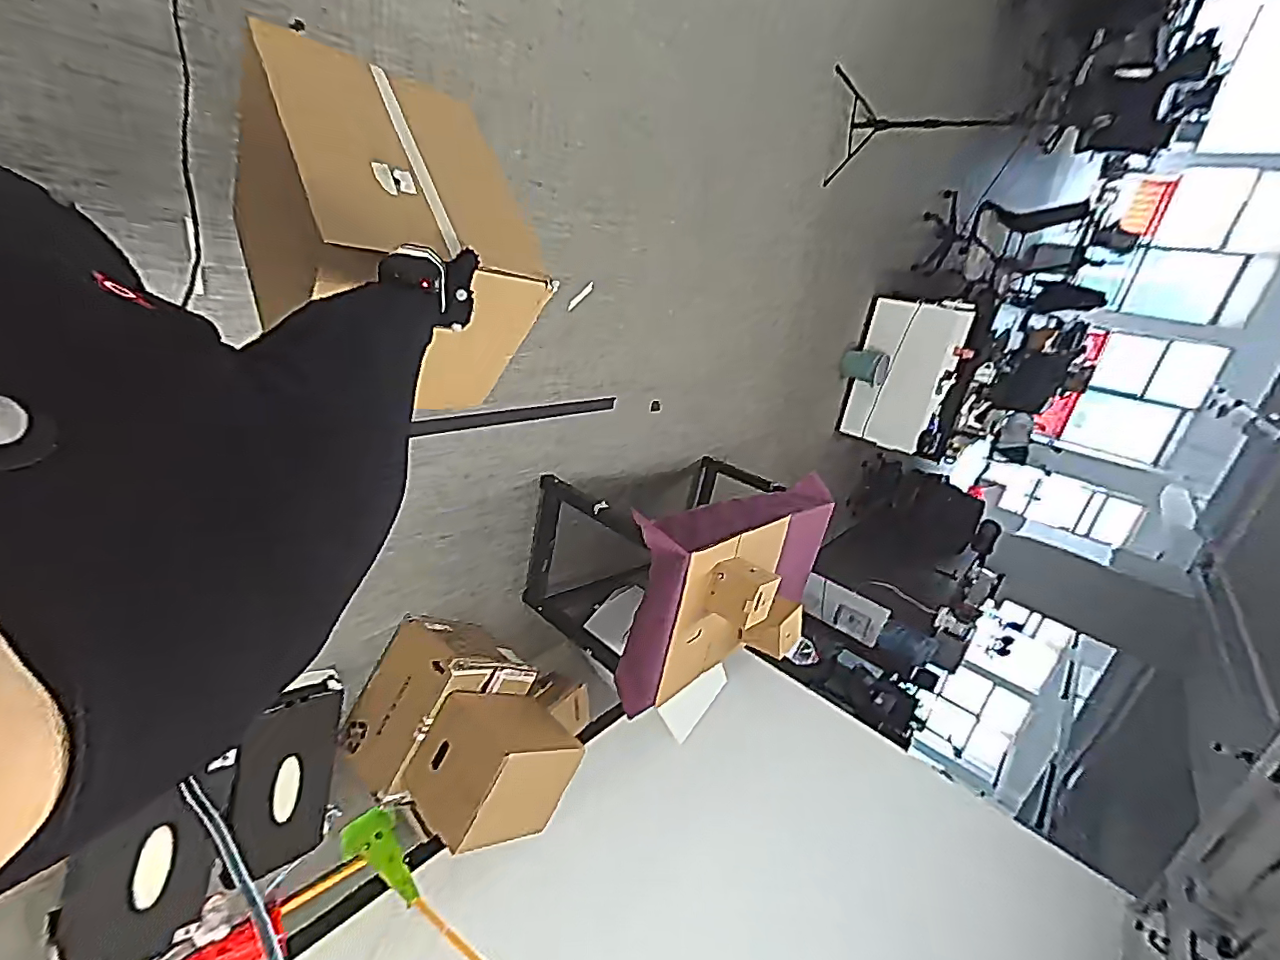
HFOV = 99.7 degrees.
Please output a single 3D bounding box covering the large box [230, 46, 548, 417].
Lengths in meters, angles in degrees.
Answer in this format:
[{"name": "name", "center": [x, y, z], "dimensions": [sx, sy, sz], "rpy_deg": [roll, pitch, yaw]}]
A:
[{"name": "large box", "center": [-0.416, -0.354, 0.868], "dimensions": [0.320, 0.408, 0.320], "rpy_deg": [-9, 157, -44]}]
